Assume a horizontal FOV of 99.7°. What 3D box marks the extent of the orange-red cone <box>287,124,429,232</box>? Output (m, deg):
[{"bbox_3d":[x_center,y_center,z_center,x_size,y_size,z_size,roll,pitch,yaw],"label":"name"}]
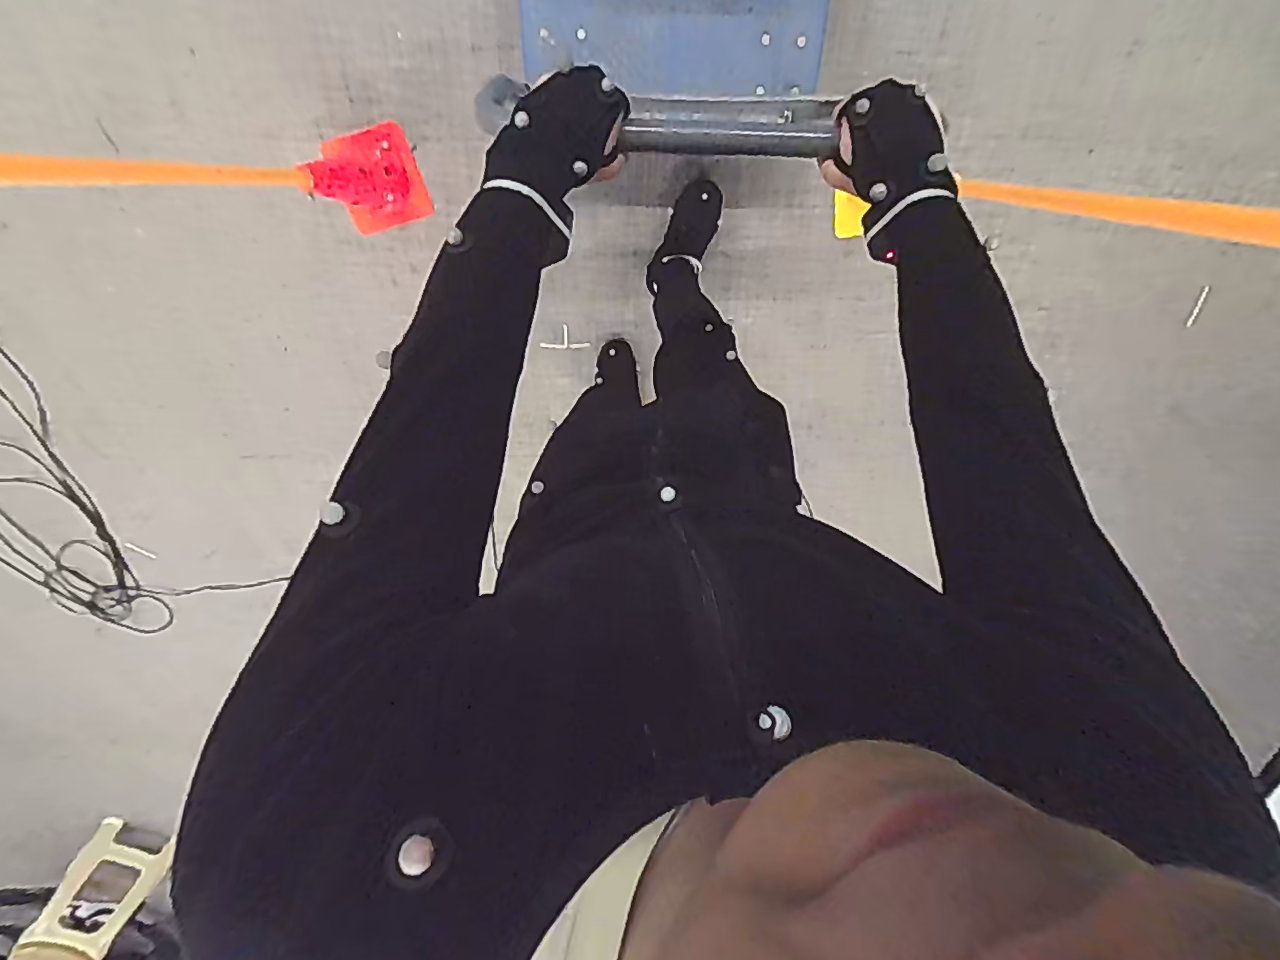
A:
[{"bbox_3d":[-0.612,-0.620,1.114,0.199,0.360,0.198,-12,118,6],"label":"orange-red cone"}]
